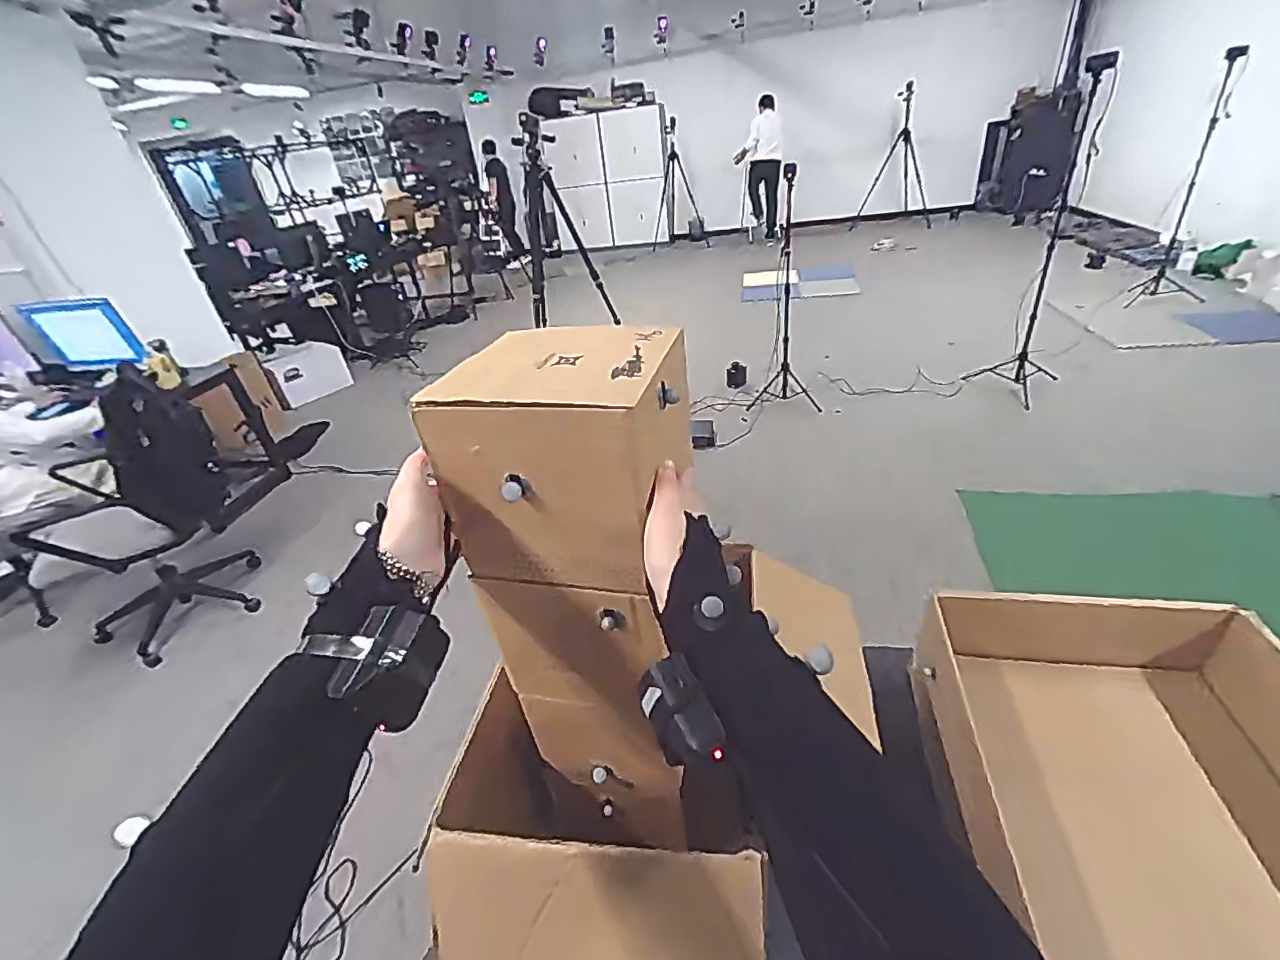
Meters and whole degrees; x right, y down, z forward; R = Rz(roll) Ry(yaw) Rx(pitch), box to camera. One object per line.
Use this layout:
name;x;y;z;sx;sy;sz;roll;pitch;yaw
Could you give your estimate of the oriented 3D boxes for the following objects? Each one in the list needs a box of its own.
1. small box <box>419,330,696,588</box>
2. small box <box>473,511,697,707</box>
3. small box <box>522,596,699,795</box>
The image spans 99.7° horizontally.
small box;-0.053;-0.023;0.481;0.179;0.176;0.168;3;35;16
small box;-0.042;0.113;0.572;0.179;0.176;0.168;3;35;15
small box;-0.021;0.245;0.663;0.168;0.176;0.179;2;36;15
